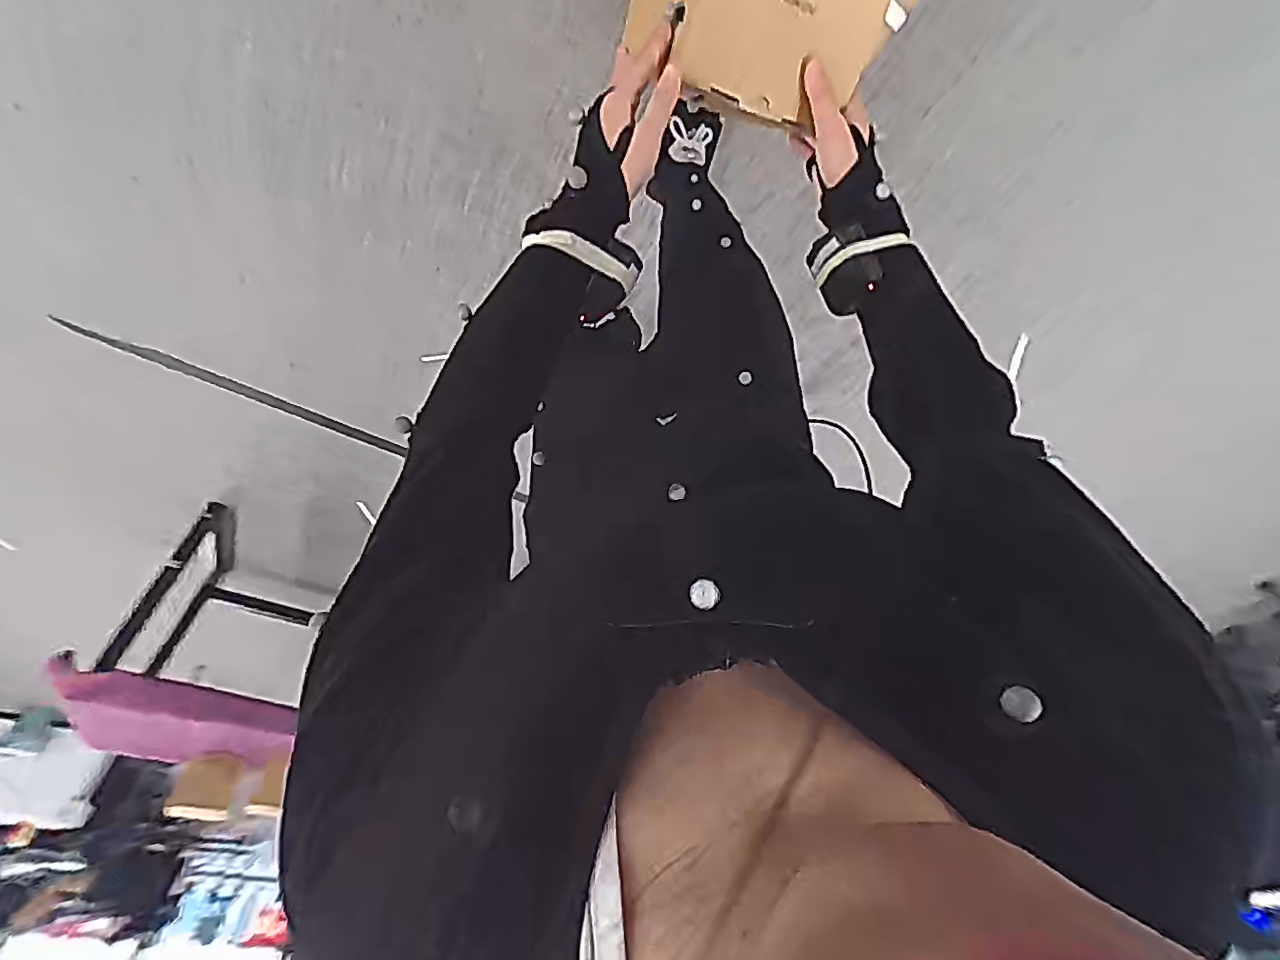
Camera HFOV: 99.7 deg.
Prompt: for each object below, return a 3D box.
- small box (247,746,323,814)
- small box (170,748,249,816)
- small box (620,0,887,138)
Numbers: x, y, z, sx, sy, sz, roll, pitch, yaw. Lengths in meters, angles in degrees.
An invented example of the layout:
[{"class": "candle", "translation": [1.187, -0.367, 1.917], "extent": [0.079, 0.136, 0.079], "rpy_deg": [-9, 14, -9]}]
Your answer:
[{"class": "small box", "translation": [-1.230, 1.044, 1.881], "extent": [0.168, 0.176, 0.179], "rpy_deg": [24, 134, -21]}, {"class": "small box", "translation": [-1.531, 1.079, 1.930], "extent": [0.168, 0.176, 0.179], "rpy_deg": [22, 133, -22]}, {"class": "small box", "translation": [0.096, -0.429, 0.469], "extent": [0.168, 0.176, 0.179], "rpy_deg": [1, 127, -25]}]
